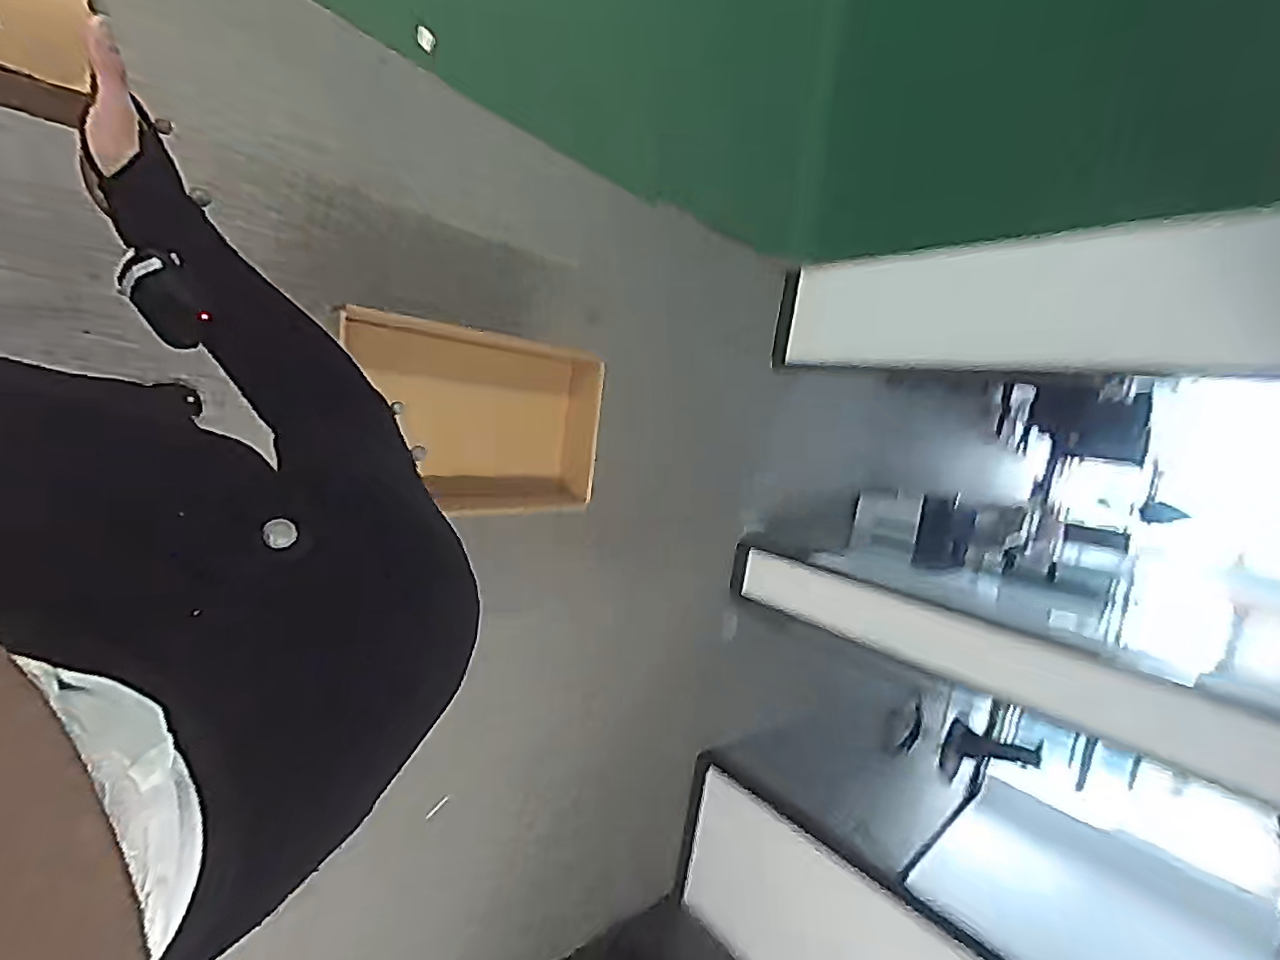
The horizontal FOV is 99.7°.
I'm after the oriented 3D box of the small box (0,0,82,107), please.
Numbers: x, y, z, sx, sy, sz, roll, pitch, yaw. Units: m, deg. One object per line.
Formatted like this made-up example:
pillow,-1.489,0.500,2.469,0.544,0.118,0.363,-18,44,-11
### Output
small box,-0.510,-0.391,0.371,0.168,0.176,0.179,-7,111,-47
